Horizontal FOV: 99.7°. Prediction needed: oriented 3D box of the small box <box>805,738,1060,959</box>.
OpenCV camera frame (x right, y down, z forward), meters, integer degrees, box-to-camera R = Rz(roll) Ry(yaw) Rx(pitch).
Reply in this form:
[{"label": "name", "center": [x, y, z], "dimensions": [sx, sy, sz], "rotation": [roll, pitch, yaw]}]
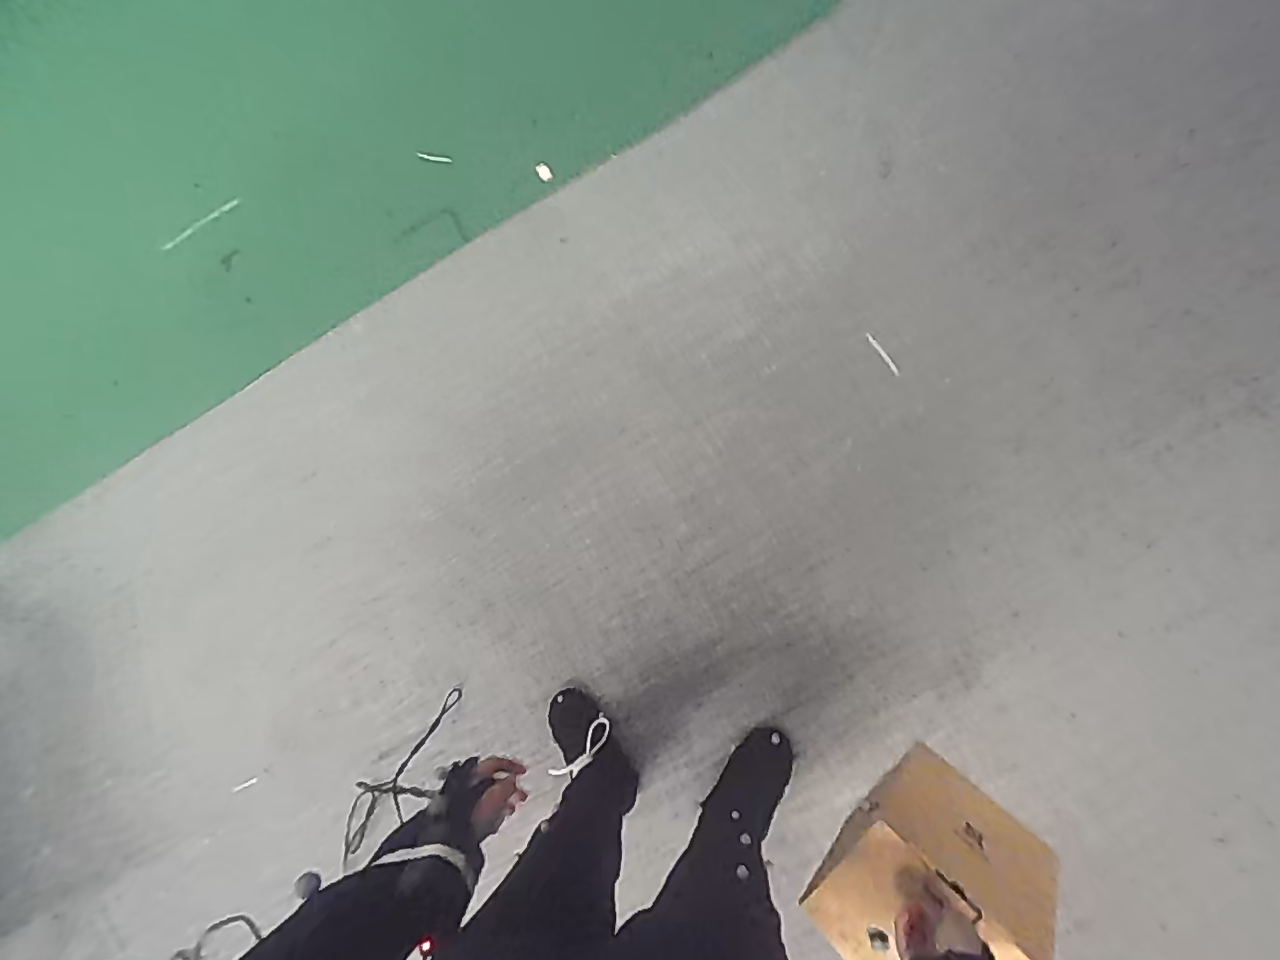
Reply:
[{"label": "small box", "center": [0.311, 0.431, 0.588], "dimensions": [0.168, 0.179, 0.176], "rotation": [40, 118, 31]}]
